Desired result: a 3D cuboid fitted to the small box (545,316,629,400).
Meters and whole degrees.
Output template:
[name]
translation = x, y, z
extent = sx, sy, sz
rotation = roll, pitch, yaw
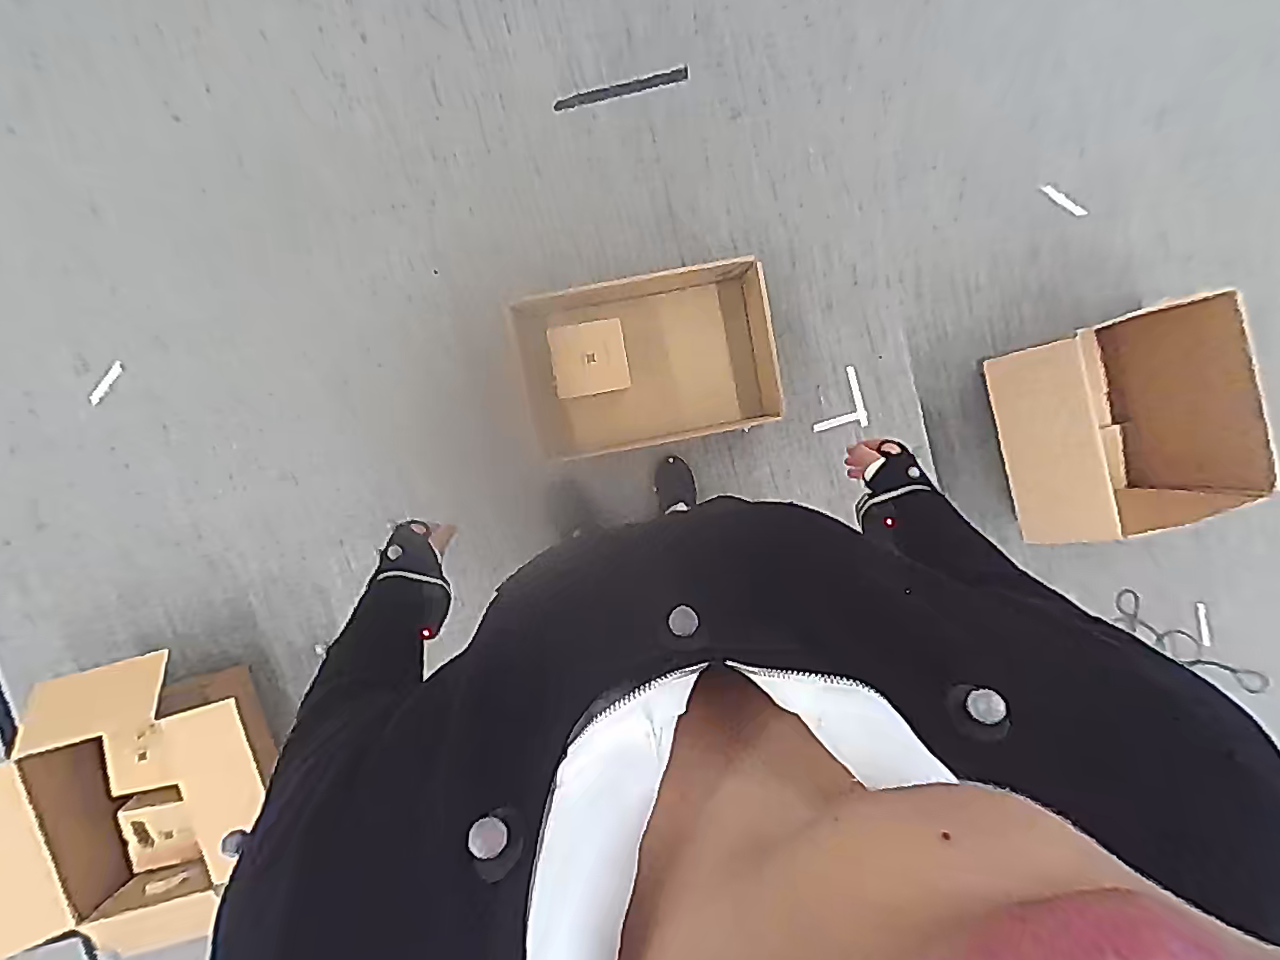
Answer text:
[small box]
translation = -0.129, -0.296, 1.340
extent = 0.179, 0.176, 0.168
rotation = -11, 97, -5
